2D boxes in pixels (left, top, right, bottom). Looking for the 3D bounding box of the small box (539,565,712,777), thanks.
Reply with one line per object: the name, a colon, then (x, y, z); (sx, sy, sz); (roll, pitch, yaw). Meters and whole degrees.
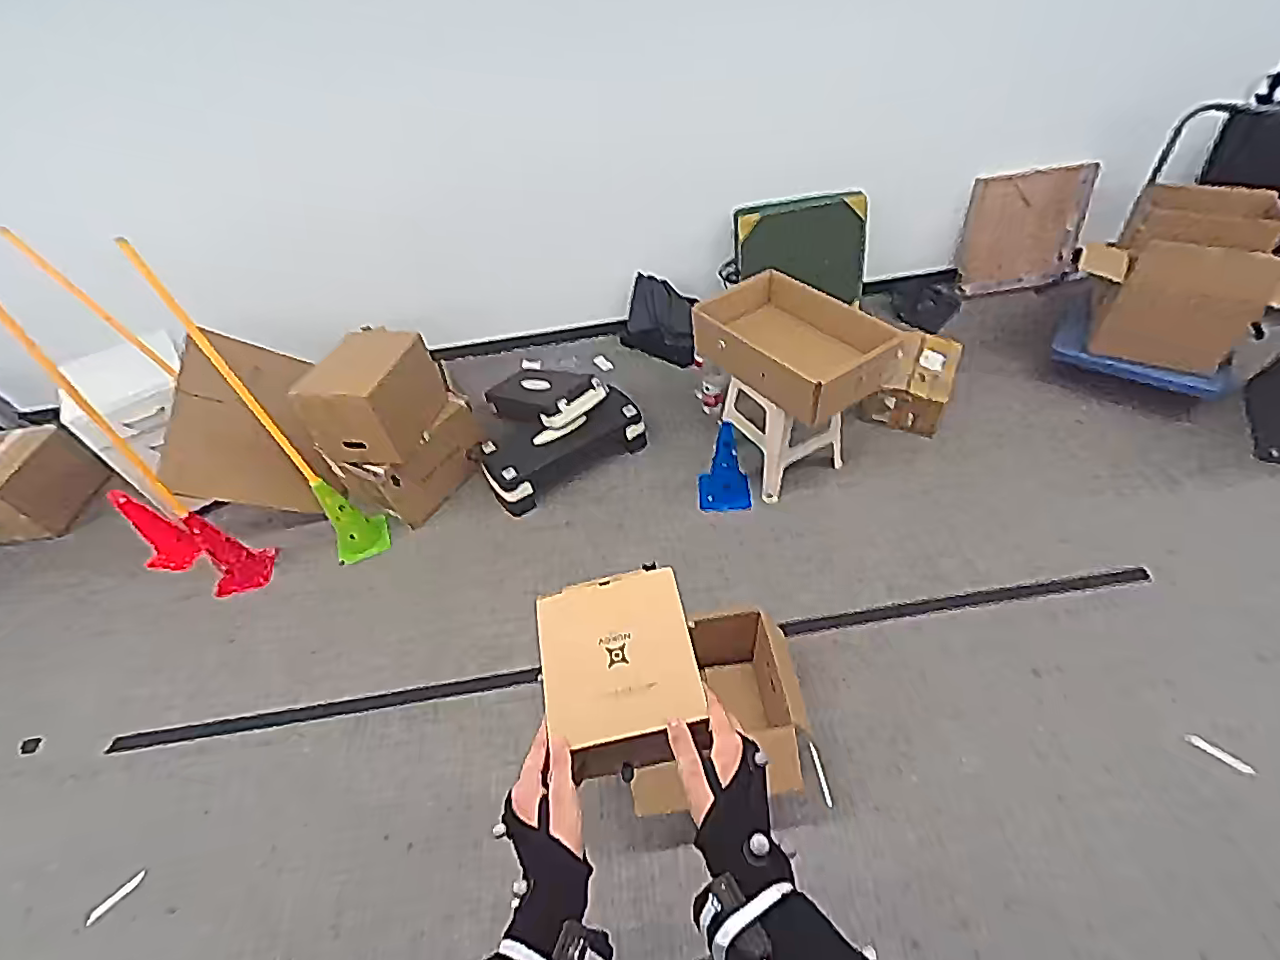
small box: (-0.018, 0.229, 0.643); (0.168, 0.176, 0.179); (-12, 52, -3)
